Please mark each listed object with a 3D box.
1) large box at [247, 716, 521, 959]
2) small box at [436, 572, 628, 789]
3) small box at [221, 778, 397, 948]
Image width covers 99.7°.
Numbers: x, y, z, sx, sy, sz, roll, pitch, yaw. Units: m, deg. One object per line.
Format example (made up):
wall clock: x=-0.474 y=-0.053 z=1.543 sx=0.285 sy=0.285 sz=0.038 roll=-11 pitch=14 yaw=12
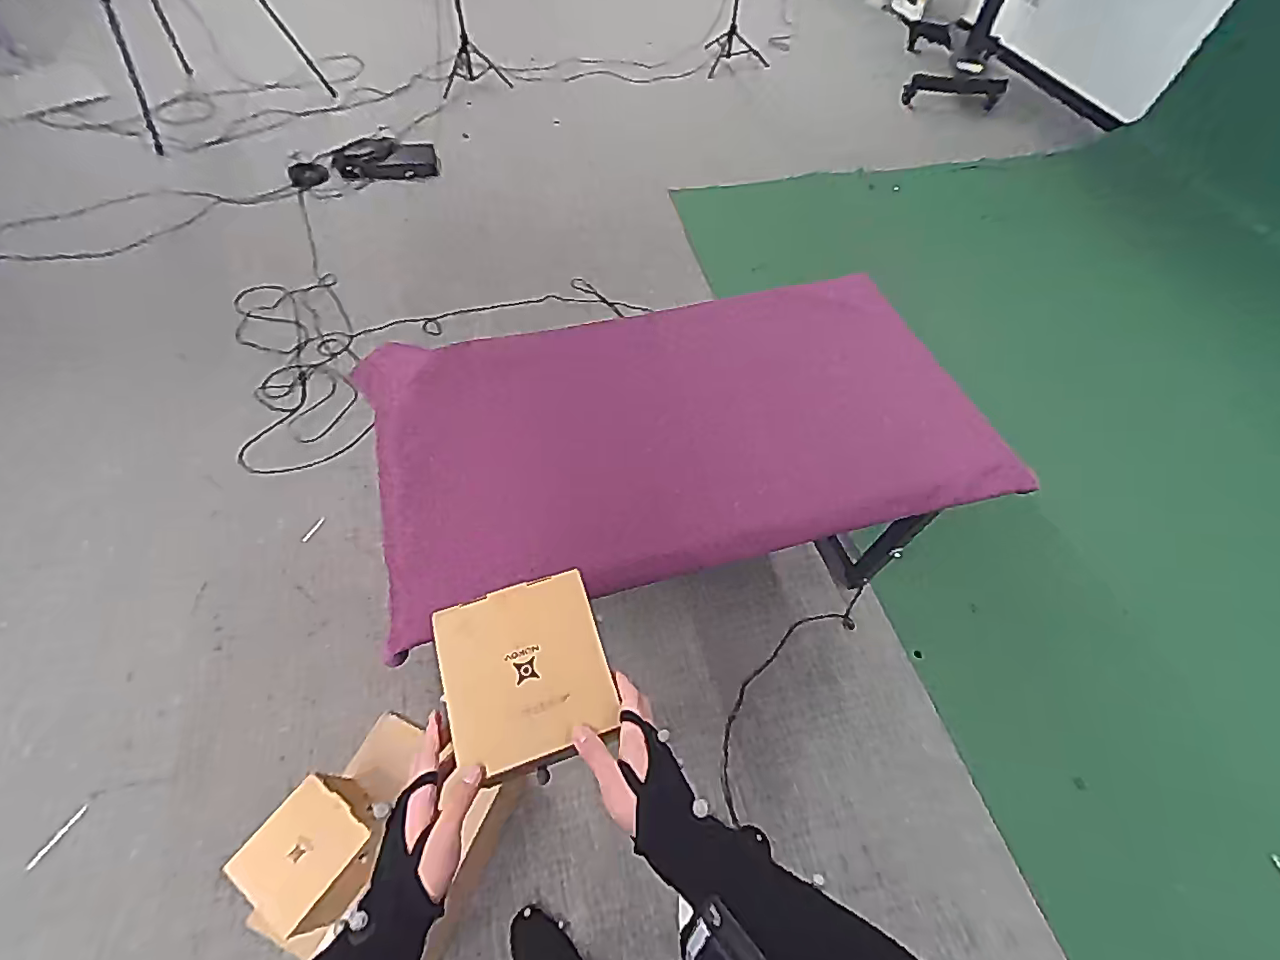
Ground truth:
large box: x=-0.506 y=0.799 z=1.172 sx=0.320 sy=0.320 sz=0.408 roll=21 pitch=58 yaw=10
small box: x=-0.119 y=0.233 z=0.617 sx=0.168 sy=0.176 sz=0.179 roll=-15 pitch=62 yaw=-12
small box: x=-0.572 y=0.671 z=0.961 sx=0.168 sy=0.176 sz=0.179 roll=30 pitch=60 yaw=18
